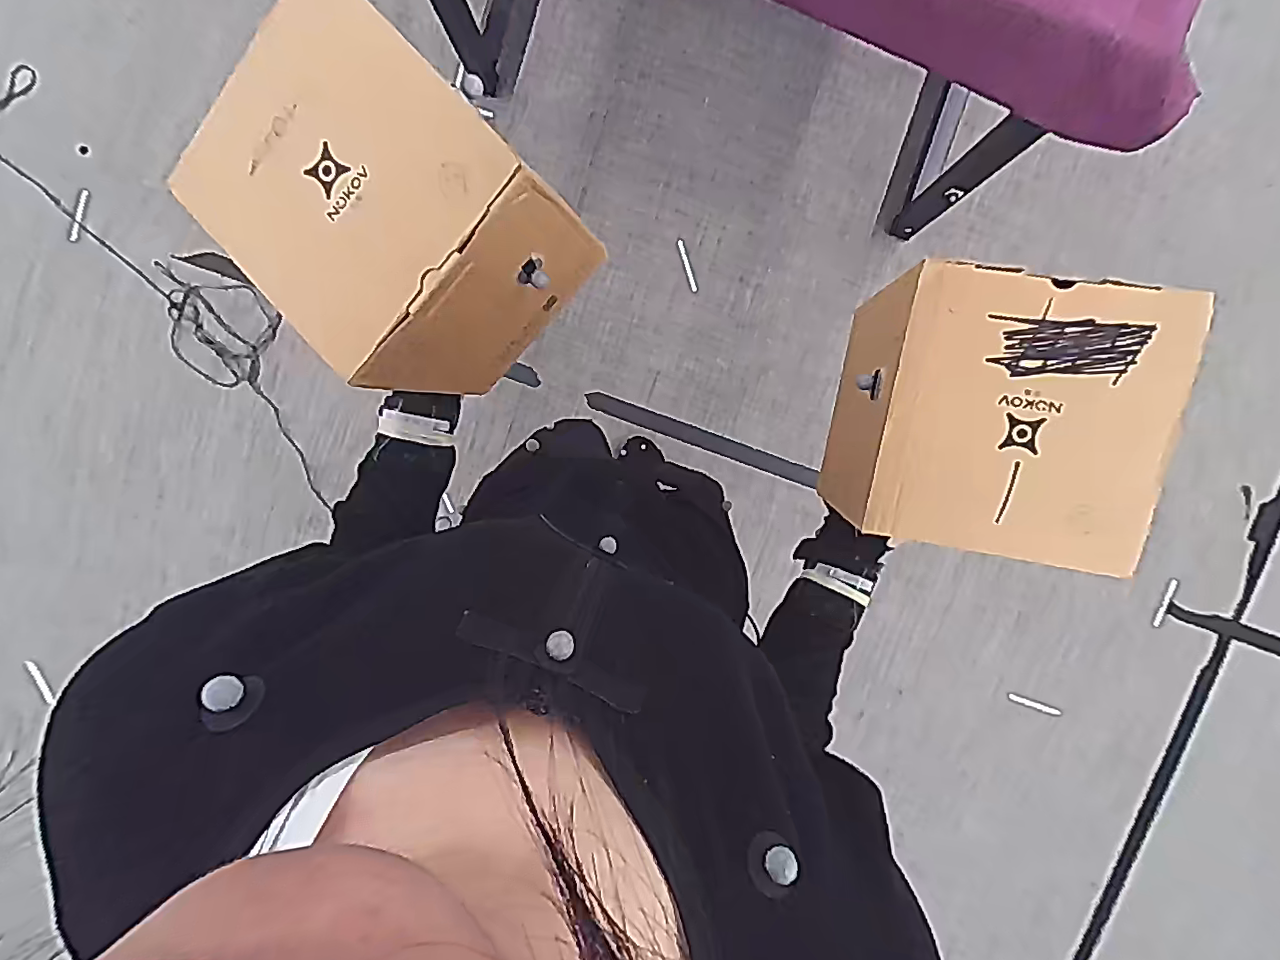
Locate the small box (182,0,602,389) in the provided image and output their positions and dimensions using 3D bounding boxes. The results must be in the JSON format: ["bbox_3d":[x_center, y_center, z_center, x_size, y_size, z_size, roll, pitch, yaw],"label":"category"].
[{"bbox_3d":[-0.153,-0.182,0.390,0.168,0.176,0.179,-44,86,13],"label":"small box"}]

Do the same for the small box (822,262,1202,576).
[{"bbox_3d":[0.251,-0.047,0.419,0.168,0.176,0.179,11,98,7],"label":"small box"}]
